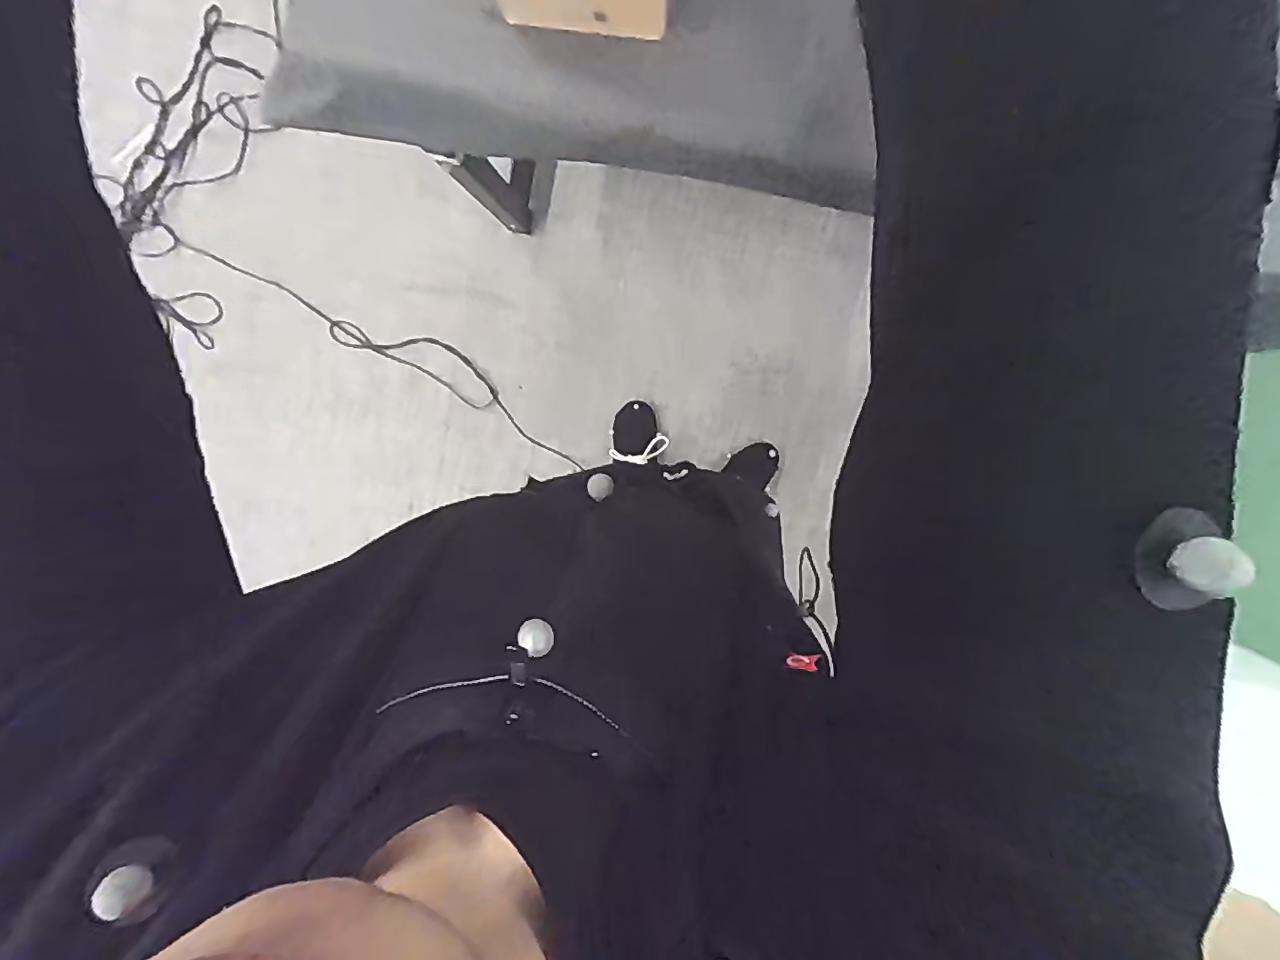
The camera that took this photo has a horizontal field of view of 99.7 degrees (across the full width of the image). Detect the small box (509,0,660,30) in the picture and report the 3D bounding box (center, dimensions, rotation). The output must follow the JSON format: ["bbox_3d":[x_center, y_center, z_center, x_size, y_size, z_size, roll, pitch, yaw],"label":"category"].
[{"bbox_3d":[-0.058,-0.539,0.465,0.168,0.176,0.179,8,100,2],"label":"small box"}]
